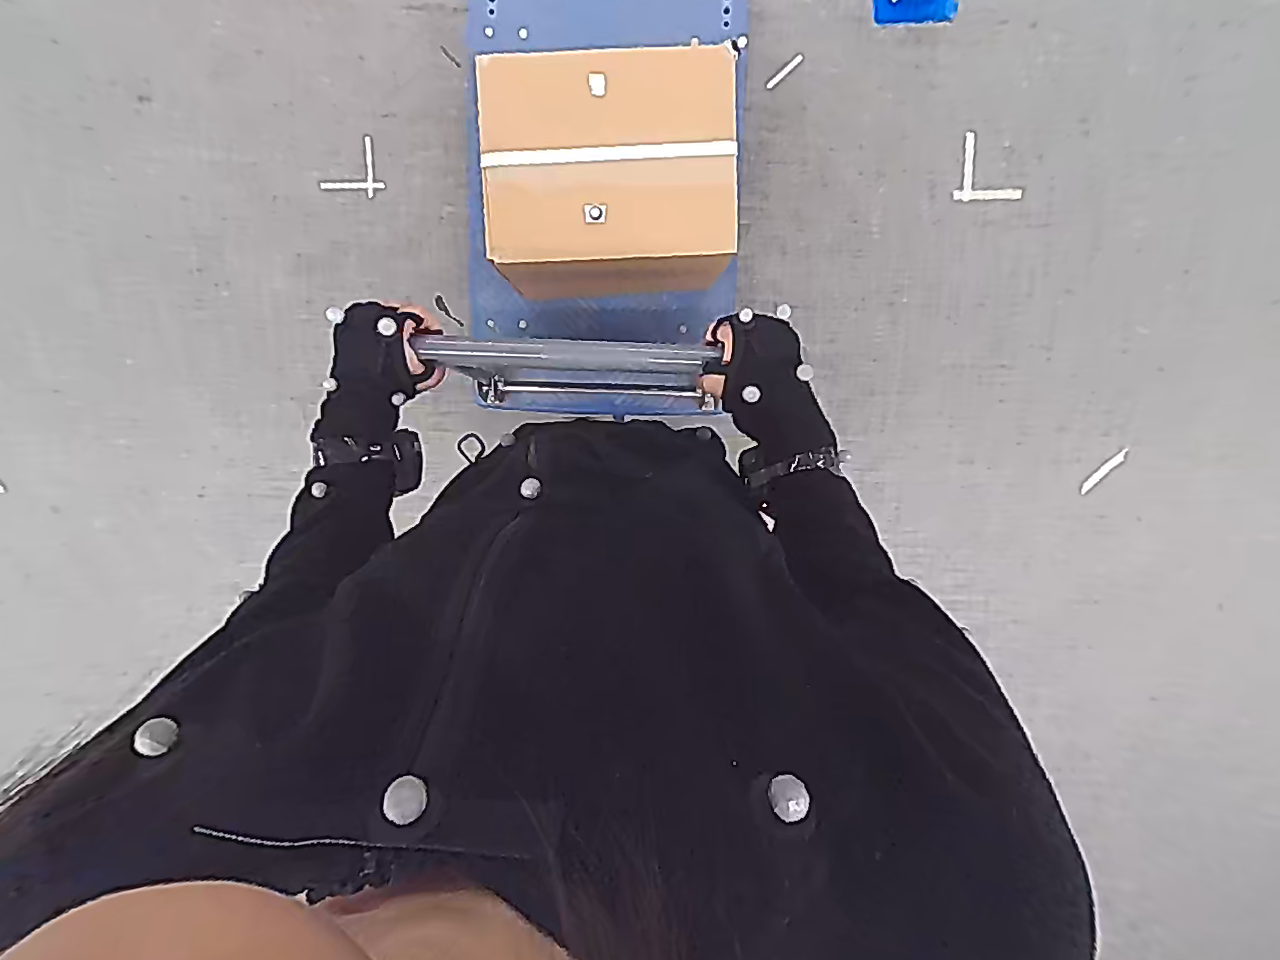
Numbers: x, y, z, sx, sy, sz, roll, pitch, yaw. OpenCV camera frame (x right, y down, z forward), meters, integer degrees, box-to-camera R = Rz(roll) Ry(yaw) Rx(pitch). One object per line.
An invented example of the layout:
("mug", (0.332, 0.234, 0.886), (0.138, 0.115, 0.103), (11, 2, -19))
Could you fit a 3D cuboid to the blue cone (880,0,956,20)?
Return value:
("blue cone", (0.660, -1.169, 1.111), (0.193, 0.380, 0.192), (-3, 97, -1))
